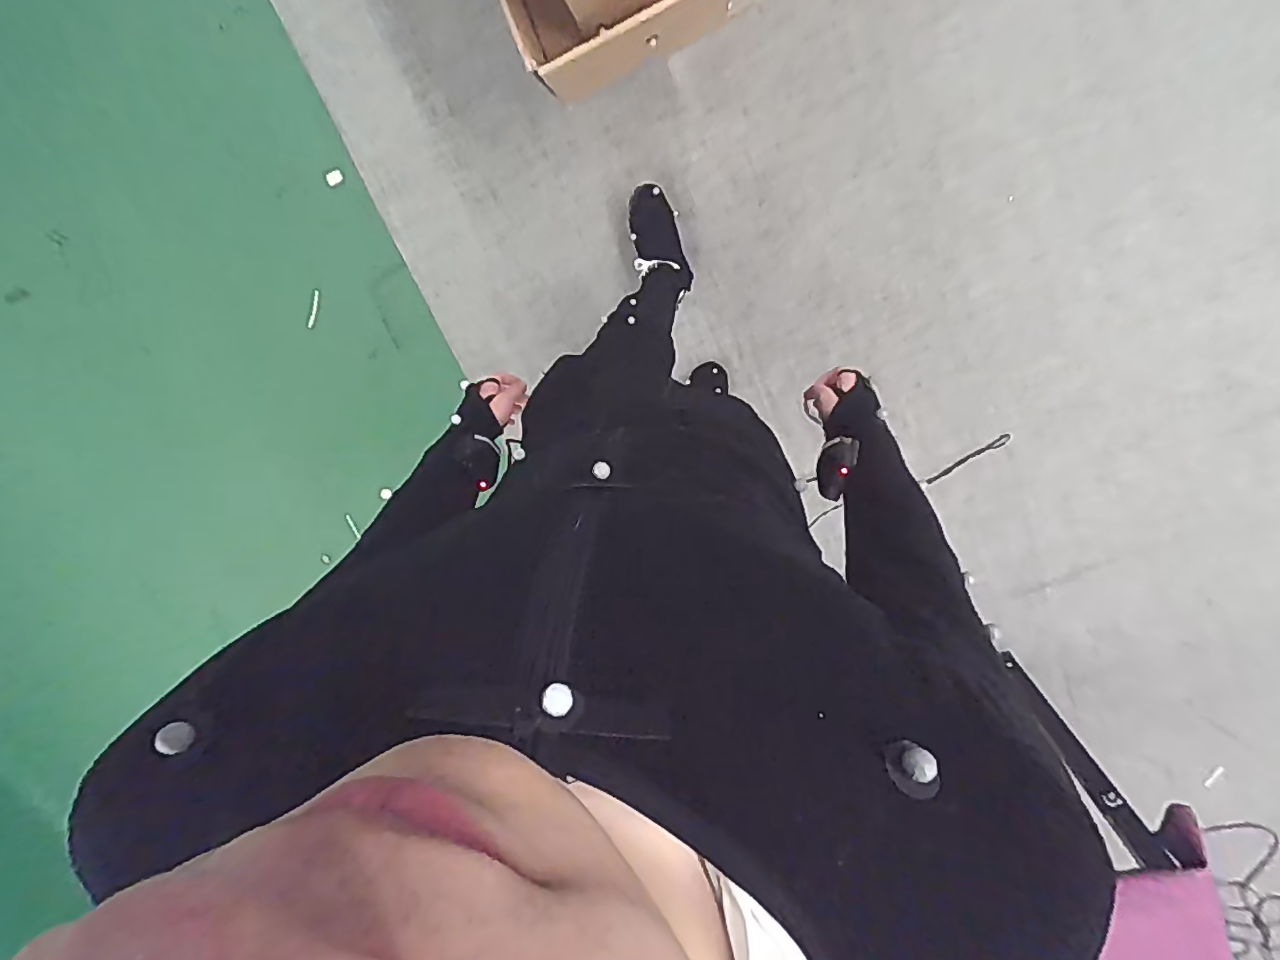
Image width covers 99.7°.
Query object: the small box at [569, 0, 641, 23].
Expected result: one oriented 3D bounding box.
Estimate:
[{"bbox_3d":[-0.059,-0.849,0.824,0.168,0.176,0.179,-17,106,13],"label":"small box"}]
